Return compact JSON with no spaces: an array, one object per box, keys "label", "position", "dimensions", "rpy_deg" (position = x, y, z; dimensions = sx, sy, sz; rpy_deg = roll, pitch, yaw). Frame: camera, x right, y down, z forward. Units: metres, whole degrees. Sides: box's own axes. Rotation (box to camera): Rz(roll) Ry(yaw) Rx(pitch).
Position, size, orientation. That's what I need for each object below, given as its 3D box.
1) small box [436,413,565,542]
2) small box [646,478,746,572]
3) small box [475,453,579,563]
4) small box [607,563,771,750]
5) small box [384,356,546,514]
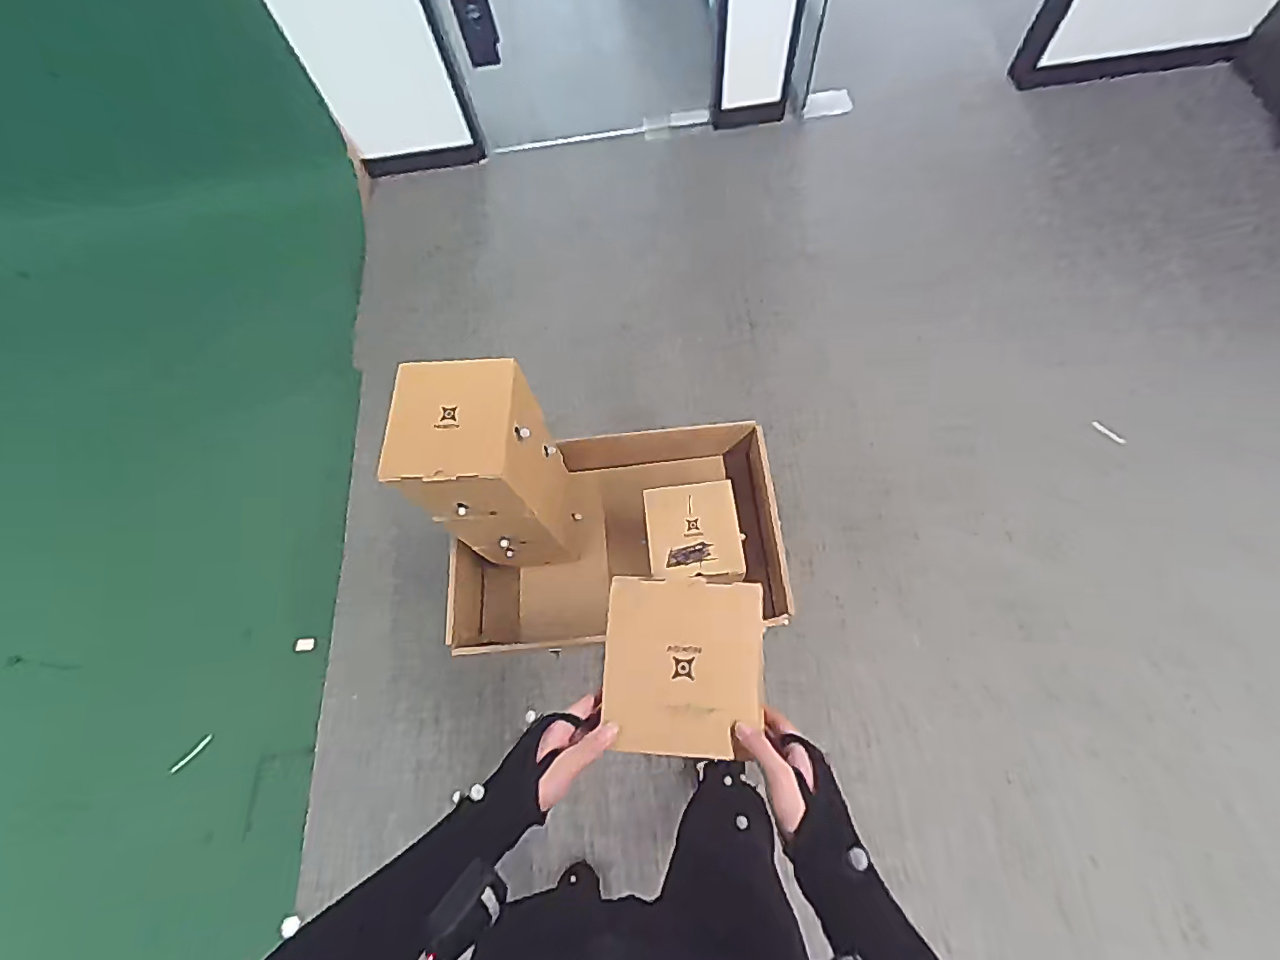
[{"label":"small box","position":[-0.228,0.000,0.935],"dimensions":[0.168,0.176,0.179],"rpy_deg":[-2,69,5]},{"label":"small box","position":[0.104,0.113,1.038],"dimensions":[0.168,0.176,0.179],"rpy_deg":[-6,67,2]},{"label":"small box","position":[-0.218,0.061,1.087],"dimensions":[0.168,0.176,0.179],"rpy_deg":[-4,68,3]},{"label":"small box","position":[0.056,0.202,0.640],"dimensions":[0.168,0.176,0.179],"rpy_deg":[3,73,4]},{"label":"small box","position":[-0.238,-0.059,0.784],"dimensions":[0.168,0.176,0.179],"rpy_deg":[-1,69,4]}]
